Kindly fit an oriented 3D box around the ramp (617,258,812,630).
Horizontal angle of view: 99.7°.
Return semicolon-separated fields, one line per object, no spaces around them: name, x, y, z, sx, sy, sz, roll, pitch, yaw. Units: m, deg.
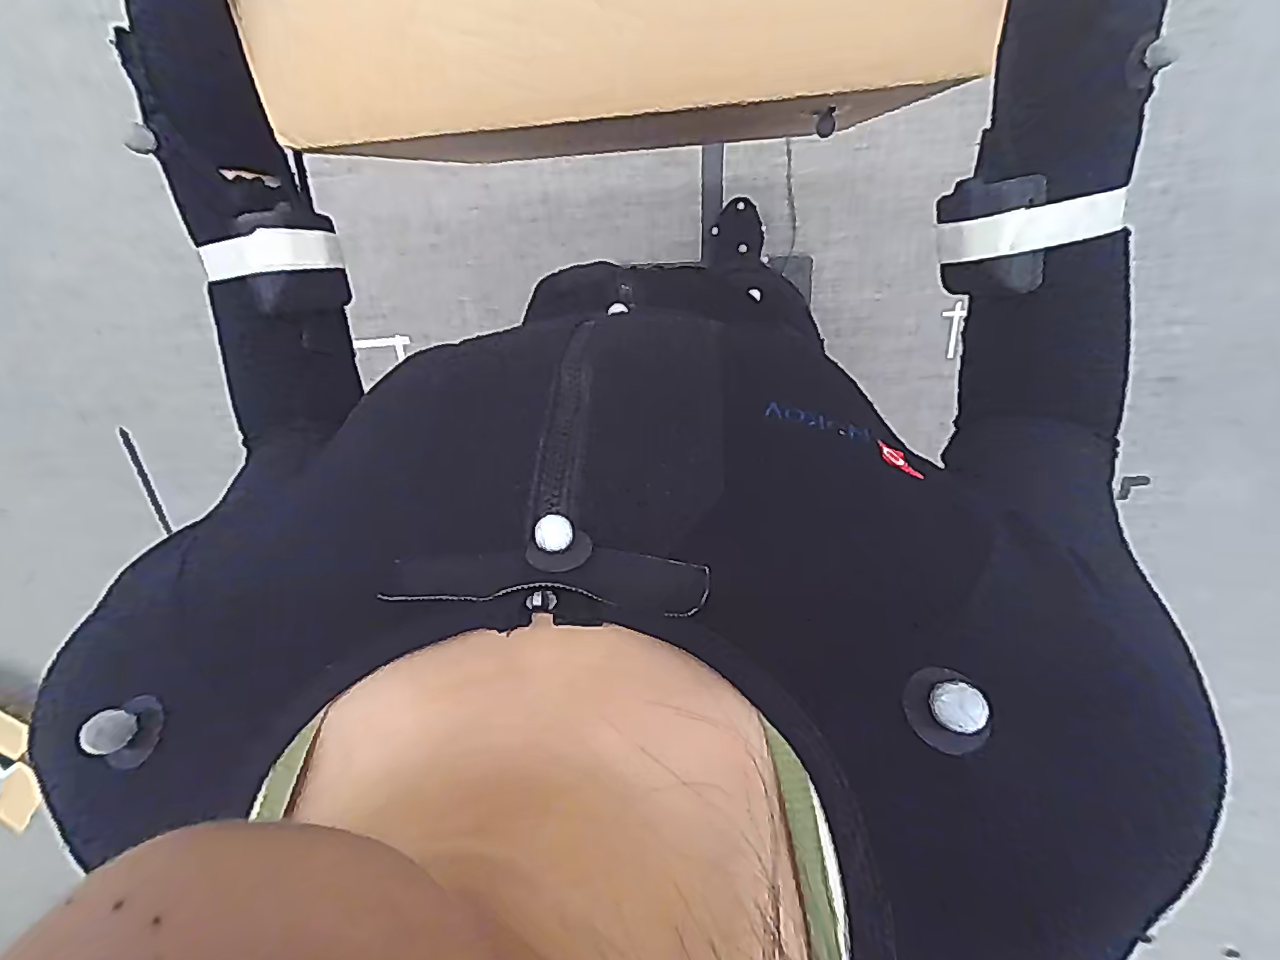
ramp;0.194;-0.058;1.462;0.509;0.206;0.991;-1;113;9

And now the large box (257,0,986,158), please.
large box;-0.012;-0.422;0.374;0.408;0.320;0.320;-1;118;7
